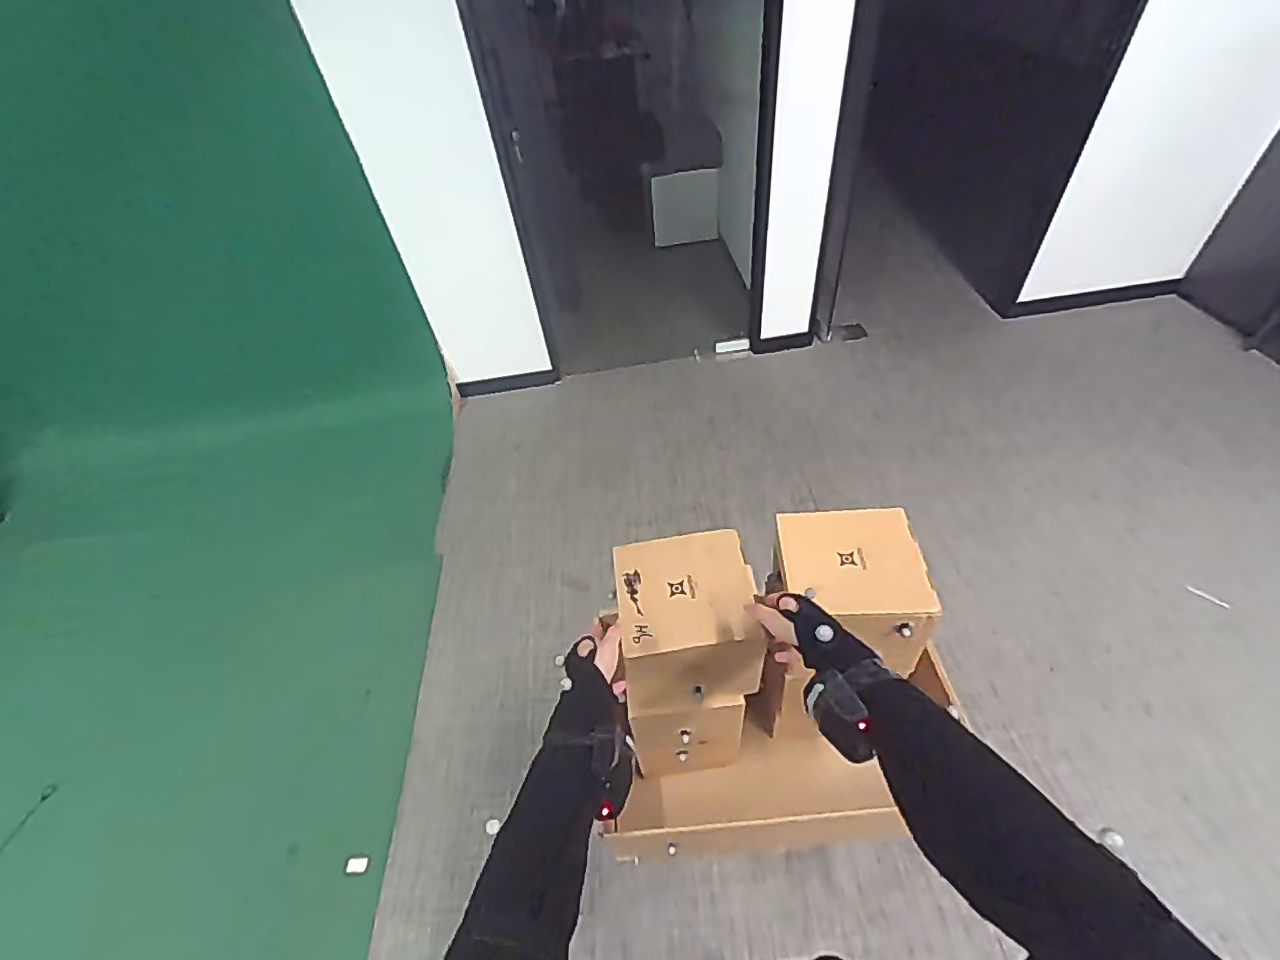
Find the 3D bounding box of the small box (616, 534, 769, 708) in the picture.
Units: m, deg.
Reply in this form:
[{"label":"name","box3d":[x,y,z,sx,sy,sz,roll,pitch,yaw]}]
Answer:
[{"label":"small box","box3d":[0.066,0.197,0.747,0.179,0.176,0.168,-8,47,0]}]
